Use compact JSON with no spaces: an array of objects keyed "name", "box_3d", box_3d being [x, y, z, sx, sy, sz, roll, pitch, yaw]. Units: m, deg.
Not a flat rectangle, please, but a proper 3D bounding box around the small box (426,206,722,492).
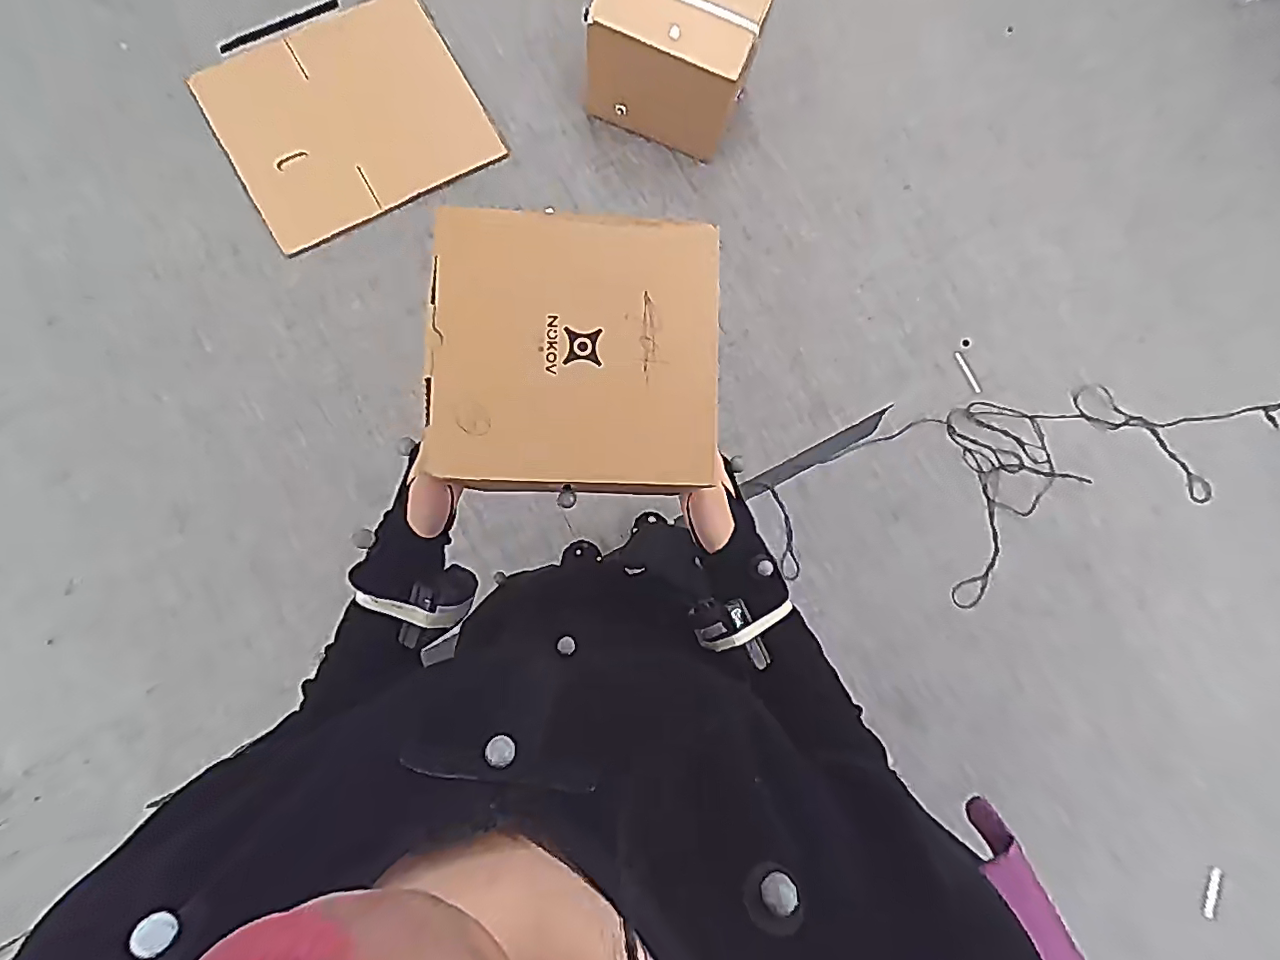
[{"name":"small box","box_3d":[-0.043,-0.077,0.405,0.179,0.176,0.168,1,87,-5]}]
